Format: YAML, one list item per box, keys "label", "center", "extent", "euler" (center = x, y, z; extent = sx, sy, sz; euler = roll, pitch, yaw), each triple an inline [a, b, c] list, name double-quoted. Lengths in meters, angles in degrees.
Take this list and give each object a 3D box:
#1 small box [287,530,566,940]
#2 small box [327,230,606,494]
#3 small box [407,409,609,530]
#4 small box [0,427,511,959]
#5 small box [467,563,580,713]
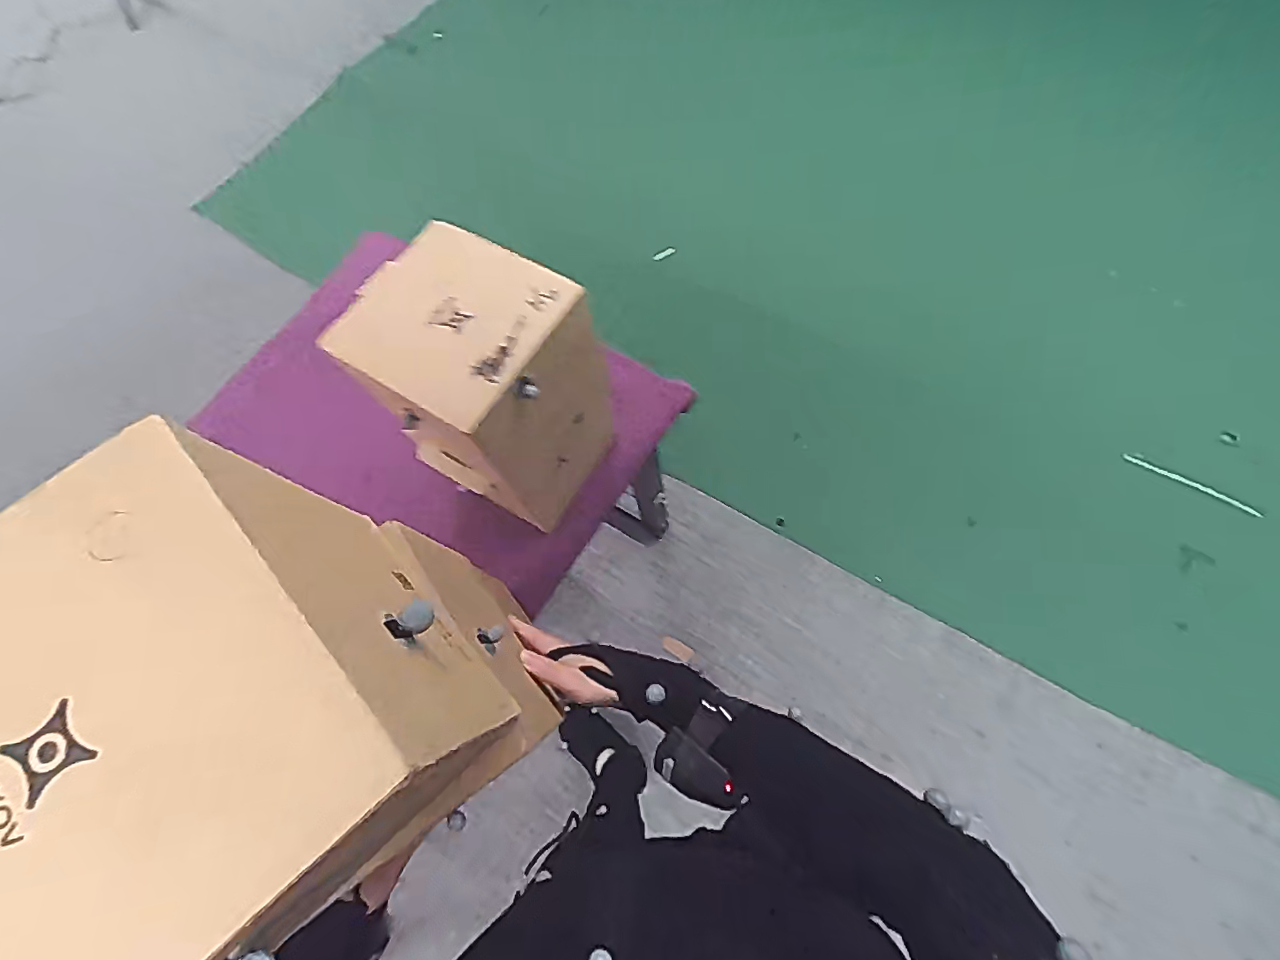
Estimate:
- label: "small box"
  center: [-0.172, 0.165, 0.403]
  extent: [0.168, 0.176, 0.179]
  euler: [-34, 75, -10]
- label: "small box"
  center: [-0.157, -0.109, 0.549]
  extent: [0.179, 0.176, 0.168]
  euler: [29, 74, 16]
- label: "small box"
  center: [-0.155, -0.058, 0.707]
  extent: [0.168, 0.176, 0.179]
  euler: [28, 73, 15]
- label: "small box"
  center: [-0.179, 0.112, 0.250]
  extent: [0.179, 0.176, 0.168]
  euler: [-40, 77, -11]
- label: "small box"
  center: [-0.181, 0.214, 0.559]
  extent: [0.179, 0.176, 0.168]
  euler: [-36, 75, -11]
